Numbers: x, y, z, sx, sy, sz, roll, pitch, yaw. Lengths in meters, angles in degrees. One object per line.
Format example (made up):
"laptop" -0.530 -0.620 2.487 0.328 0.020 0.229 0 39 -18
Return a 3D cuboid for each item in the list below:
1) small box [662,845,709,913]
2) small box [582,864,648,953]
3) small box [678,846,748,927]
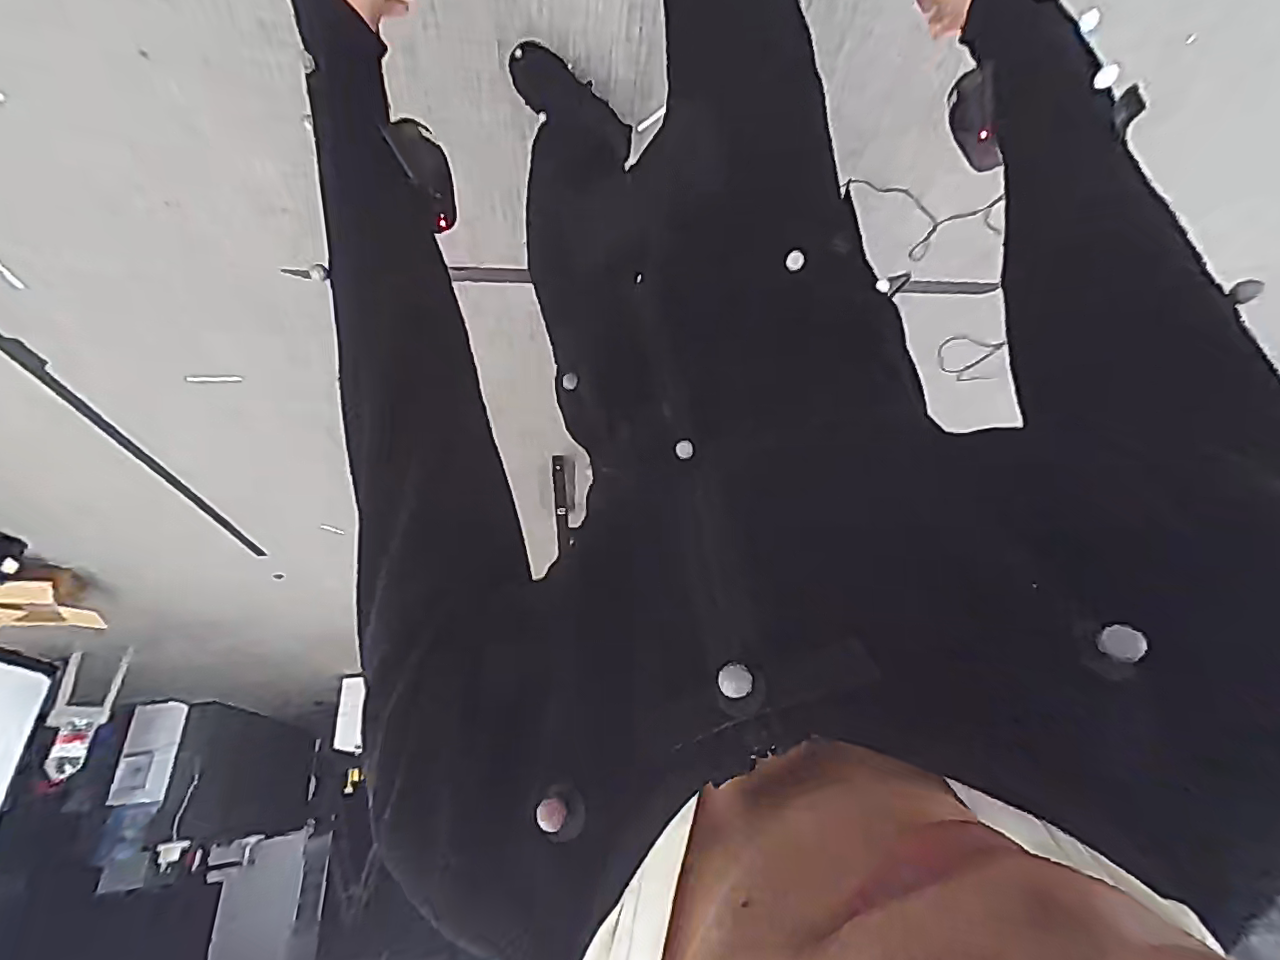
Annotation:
"small box" 0.178 1.413 1.925 0.168 0.176 0.179 -3 150 -10
"small box" -0.082 1.284 1.634 0.168 0.176 0.179 -2 152 -12
"small box" 0.224 1.279 1.714 0.168 0.176 0.179 -3 151 -10
